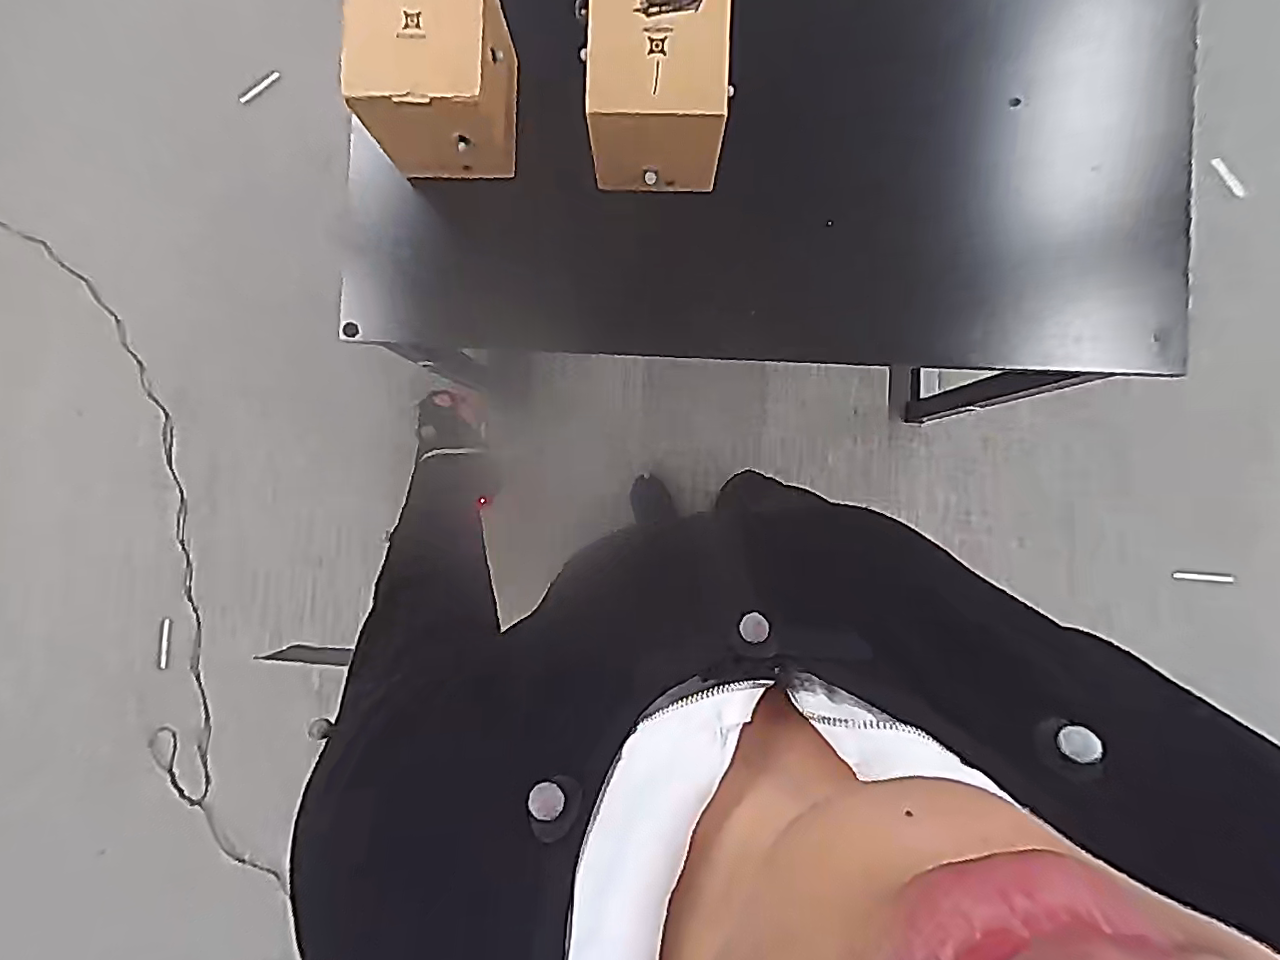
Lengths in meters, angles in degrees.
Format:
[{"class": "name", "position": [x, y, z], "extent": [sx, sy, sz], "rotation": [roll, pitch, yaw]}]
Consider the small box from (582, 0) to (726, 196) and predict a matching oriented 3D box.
[{"class": "small box", "position": [0.017, -0.505, 0.709], "extent": [0.168, 0.176, 0.179], "rotation": [2, 90, 1]}]

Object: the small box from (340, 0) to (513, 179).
[{"class": "small box", "position": [-0.269, -0.527, 0.716], "extent": [0.168, 0.176, 0.179], "rotation": [1, 88, 0]}]
